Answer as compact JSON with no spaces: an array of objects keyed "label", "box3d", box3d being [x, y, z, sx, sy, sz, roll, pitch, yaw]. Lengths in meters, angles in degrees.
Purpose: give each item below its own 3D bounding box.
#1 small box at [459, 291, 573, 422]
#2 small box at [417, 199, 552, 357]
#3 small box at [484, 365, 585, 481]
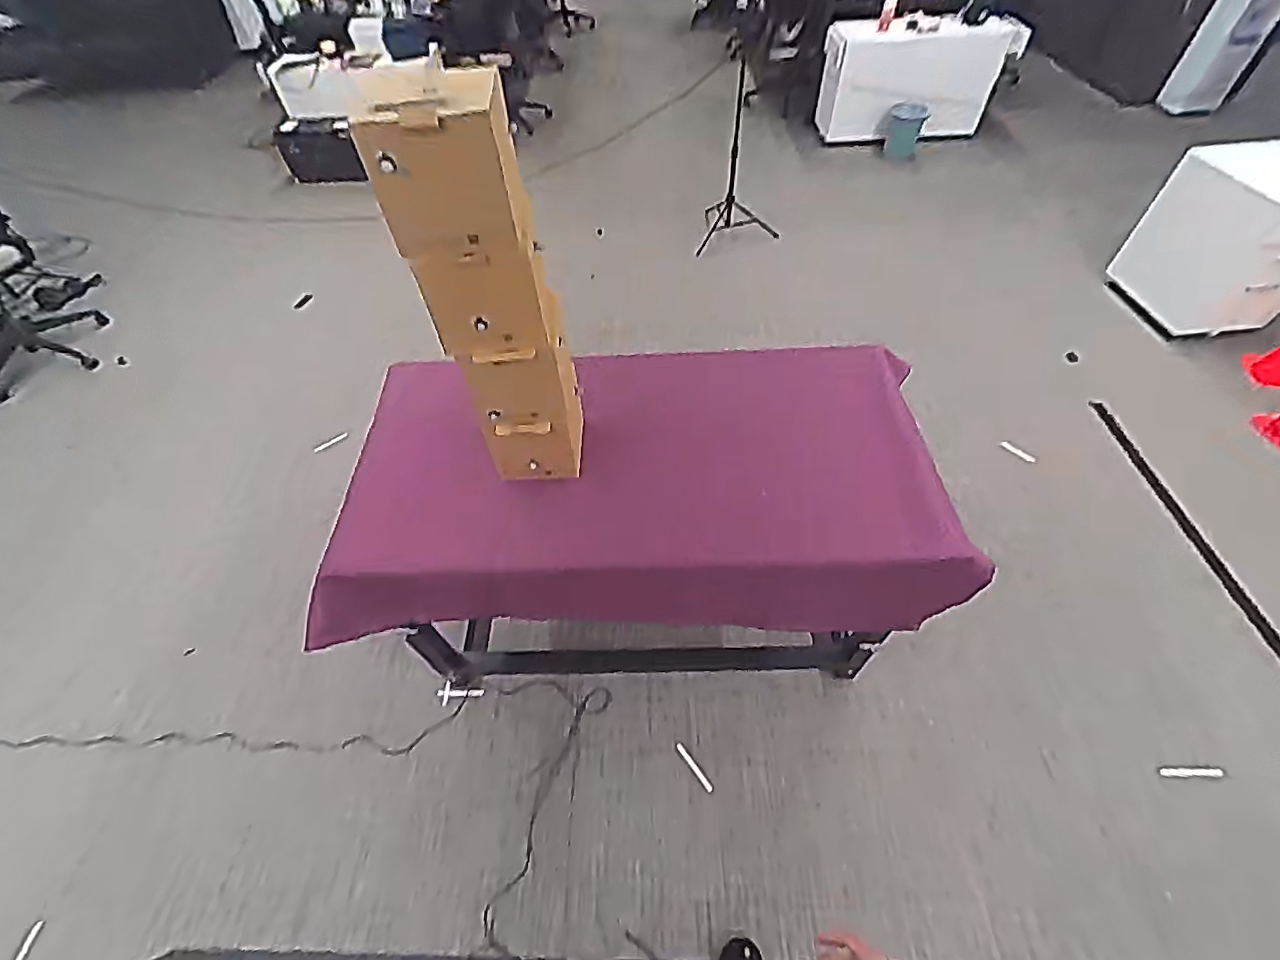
[{"label":"small box","box3d":[-0.216,-0.219,0.991,0.168,0.176,0.179,-4,51,-1]},{"label":"small box","box3d":[-0.237,-0.322,0.865,0.168,0.176,0.179,-8,52,-3]},{"label":"small box","box3d":[-0.207,-0.117,1.119,0.168,0.176,0.179,-2,52,2]}]
